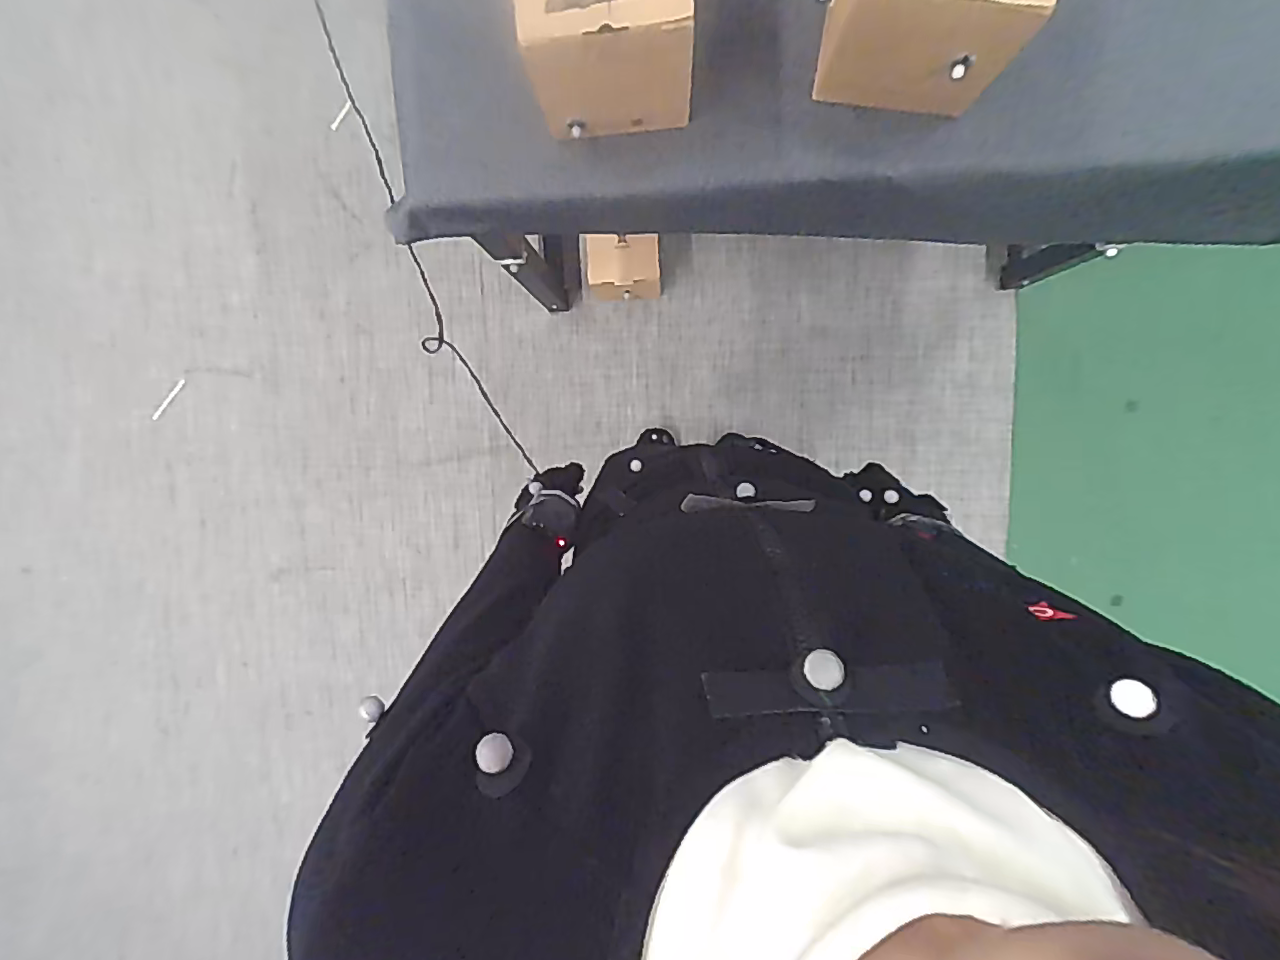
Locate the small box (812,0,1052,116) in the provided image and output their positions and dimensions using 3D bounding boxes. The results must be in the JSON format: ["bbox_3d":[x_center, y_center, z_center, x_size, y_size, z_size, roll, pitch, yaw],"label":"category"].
[{"bbox_3d":[0.298,-0.514,0.560,0.179,0.176,0.168,9,95,3],"label":"small box"}]

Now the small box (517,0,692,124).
[{"bbox_3d":[-0.032,-0.507,0.571,0.168,0.176,0.179,-4,94,2],"label":"small box"}]

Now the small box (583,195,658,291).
[{"bbox_3d":[-0.041,-0.561,1.302,0.168,0.176,0.179,-2,97,3],"label":"small box"}]
